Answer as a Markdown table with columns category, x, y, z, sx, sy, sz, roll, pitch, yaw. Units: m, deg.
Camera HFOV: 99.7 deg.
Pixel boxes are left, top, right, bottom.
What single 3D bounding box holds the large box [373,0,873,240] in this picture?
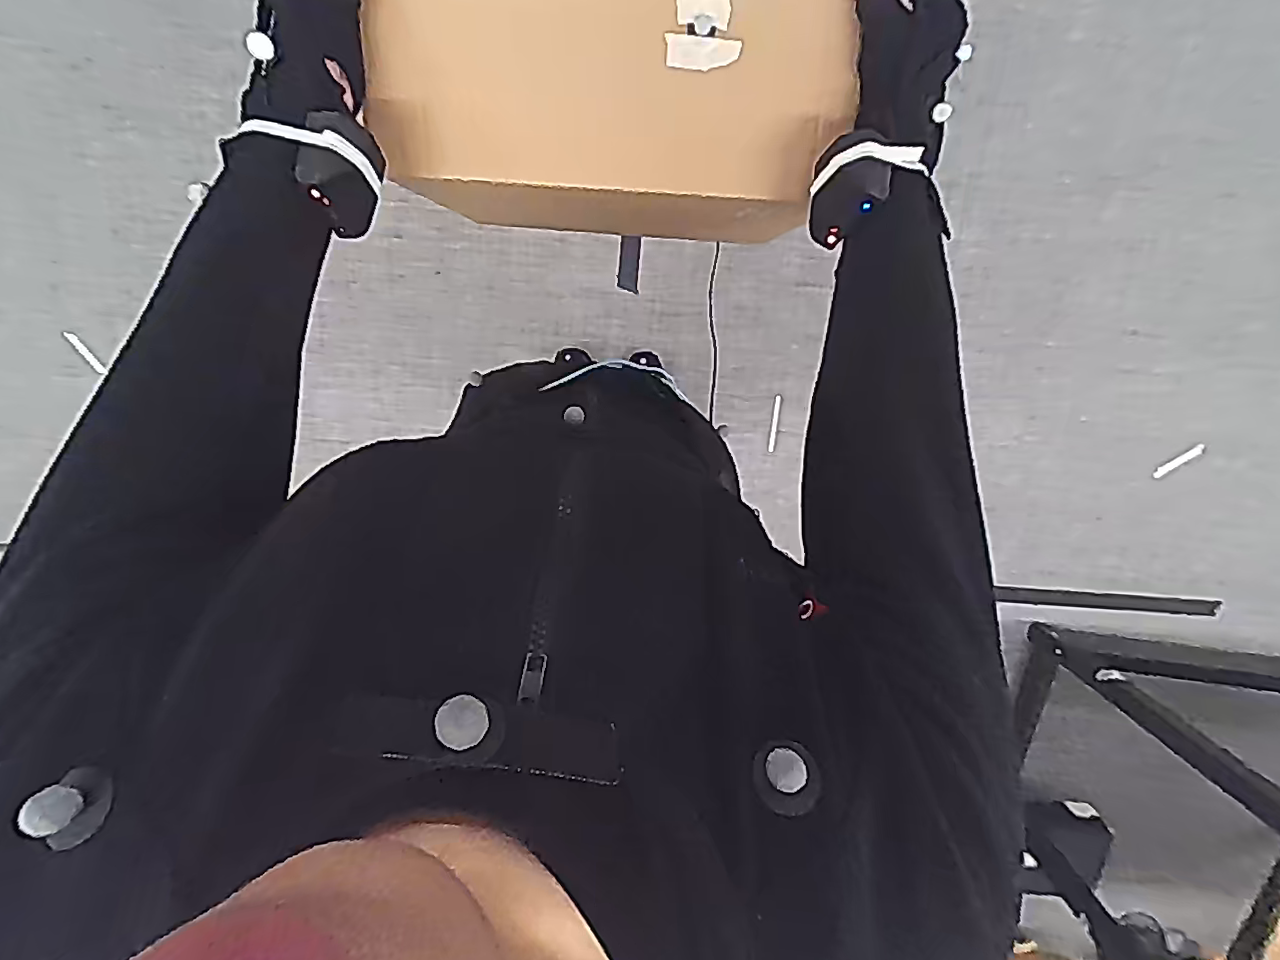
| category | x | y | z | sx | sy | sz | roll | pitch | yaw |
| --- | --- | --- | --- | --- | --- | --- | --- | --- | --- |
| large box | -0.015 | -0.442 | 0.563 | 0.408 | 0.320 | 0.320 | 3 | 108 | -2 |
